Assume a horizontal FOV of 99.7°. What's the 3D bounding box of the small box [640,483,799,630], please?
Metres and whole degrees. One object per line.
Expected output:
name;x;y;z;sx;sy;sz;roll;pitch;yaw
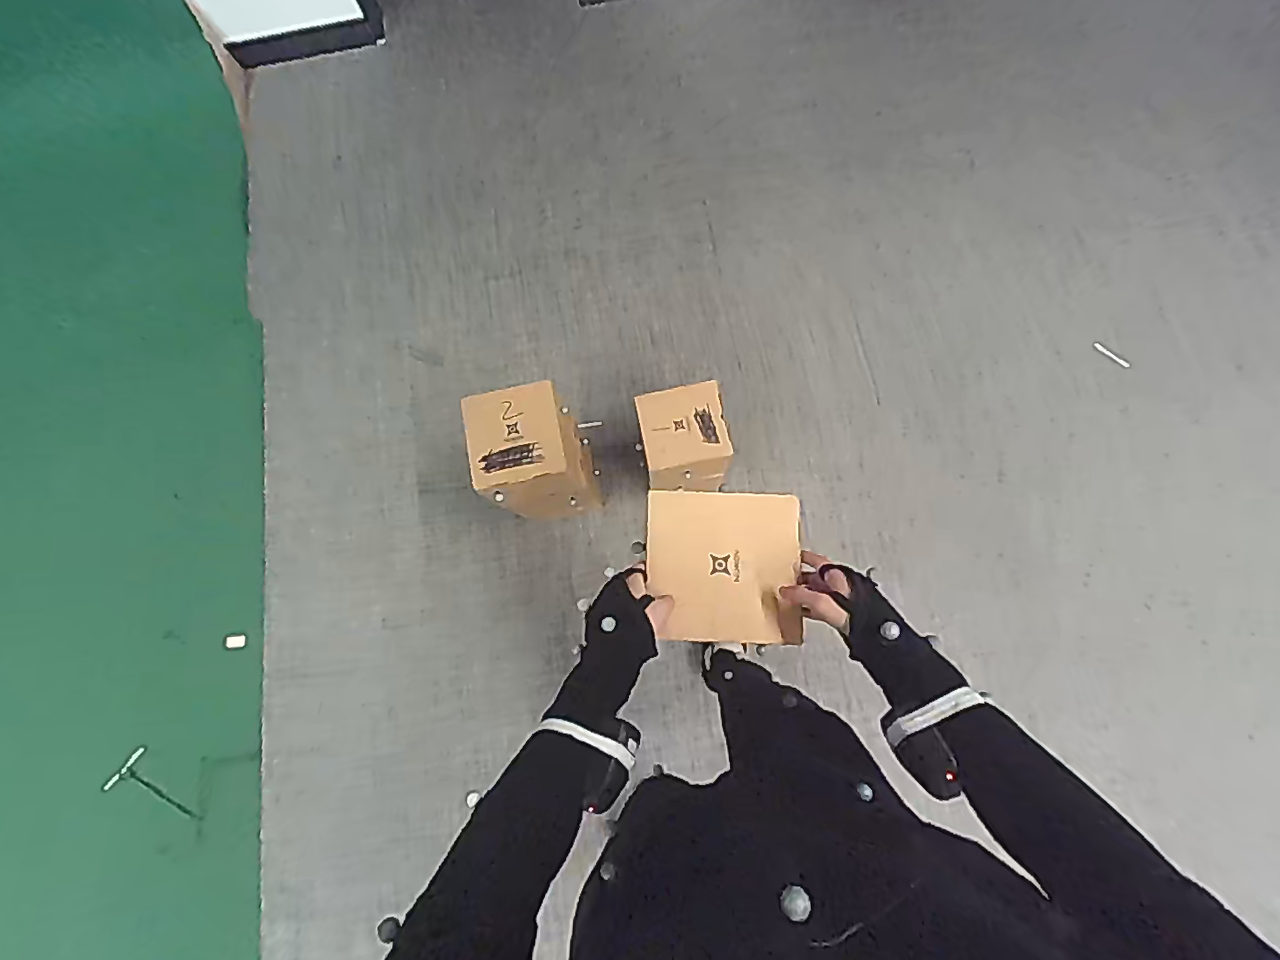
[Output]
small box;0.089;0.102;0.691;0.179;0.176;0.168;1;78;-2

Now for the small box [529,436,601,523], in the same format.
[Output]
small box;-0.200;0.003;1.359;0.179;0.176;0.168;-13;77;1

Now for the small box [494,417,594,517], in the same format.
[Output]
small box;-0.204;-0.022;1.198;0.179;0.176;0.168;-13;77;1
